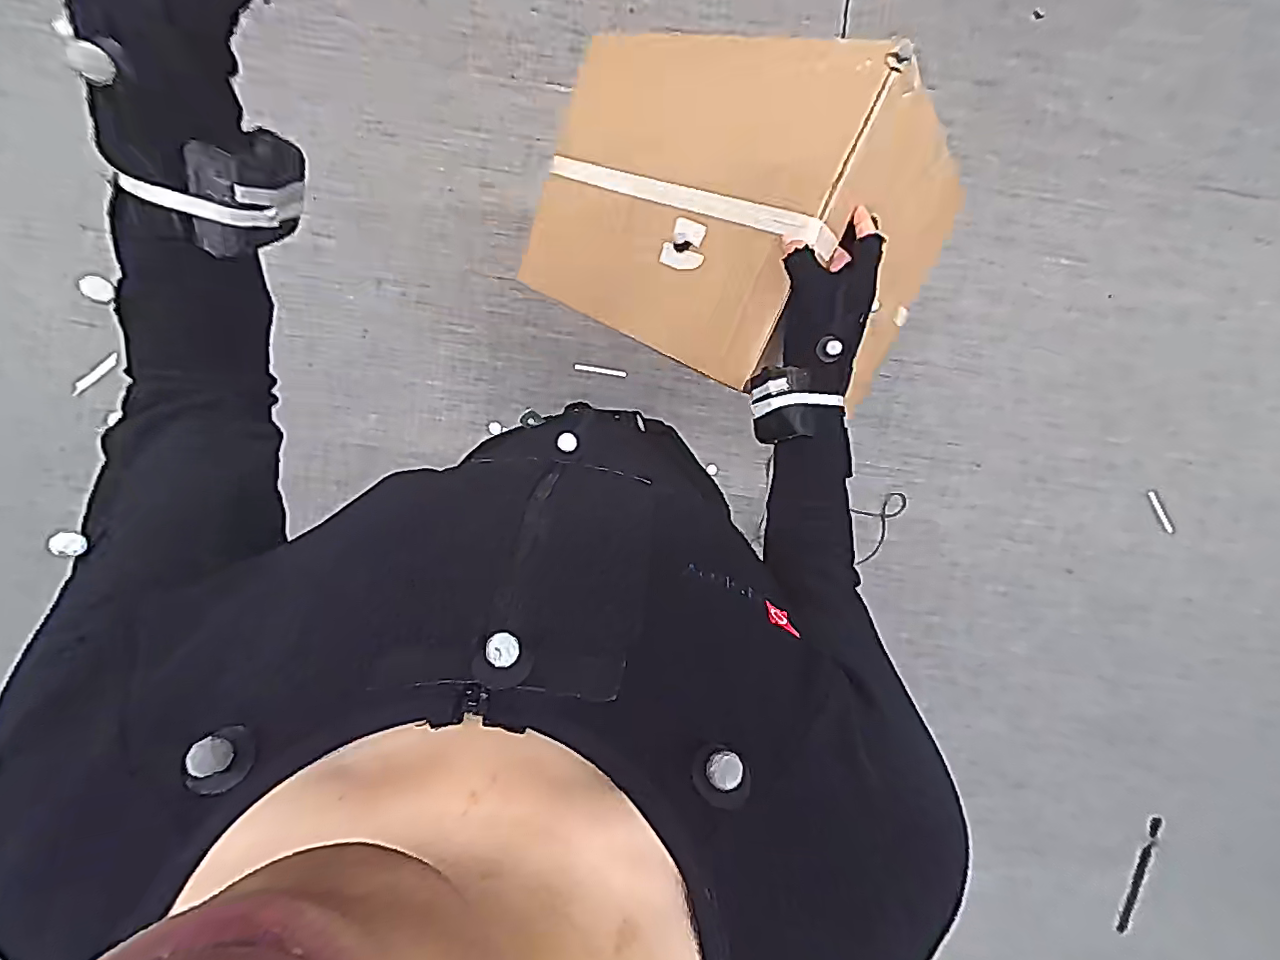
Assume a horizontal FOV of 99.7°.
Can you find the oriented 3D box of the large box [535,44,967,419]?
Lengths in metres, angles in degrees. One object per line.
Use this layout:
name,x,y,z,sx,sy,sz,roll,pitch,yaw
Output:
large box,0.134,-0.316,0.724,0.408,0.320,0.320,37,112,35
